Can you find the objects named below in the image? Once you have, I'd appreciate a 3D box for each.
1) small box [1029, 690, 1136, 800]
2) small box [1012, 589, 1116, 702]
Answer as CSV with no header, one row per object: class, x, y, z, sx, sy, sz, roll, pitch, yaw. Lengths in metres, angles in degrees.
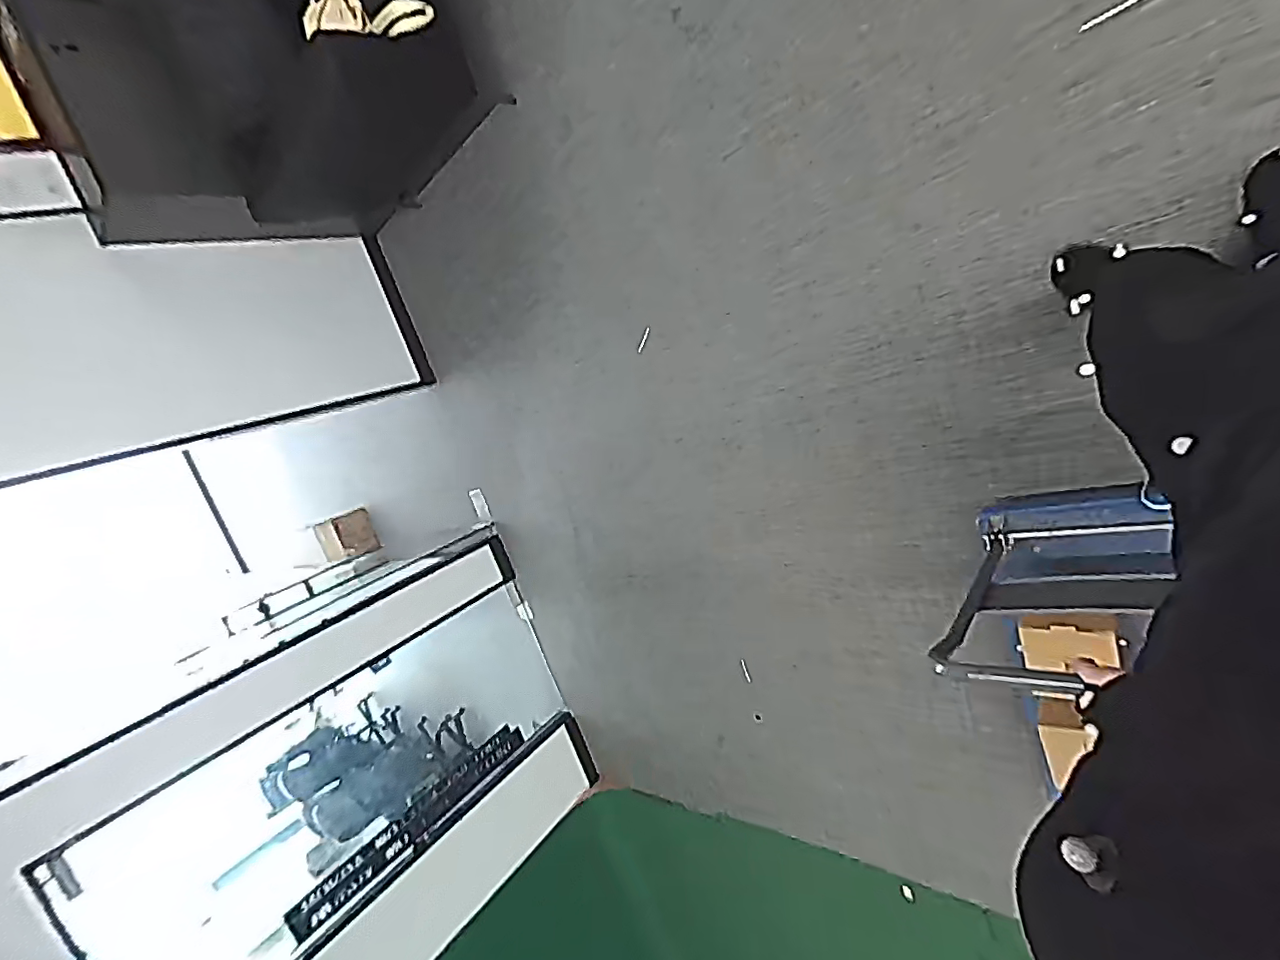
small box,1.044,0.602,1.275,0.168,0.176,0.179,-13,100,43
small box,0.971,0.369,1.235,0.168,0.176,0.179,-8,103,43
